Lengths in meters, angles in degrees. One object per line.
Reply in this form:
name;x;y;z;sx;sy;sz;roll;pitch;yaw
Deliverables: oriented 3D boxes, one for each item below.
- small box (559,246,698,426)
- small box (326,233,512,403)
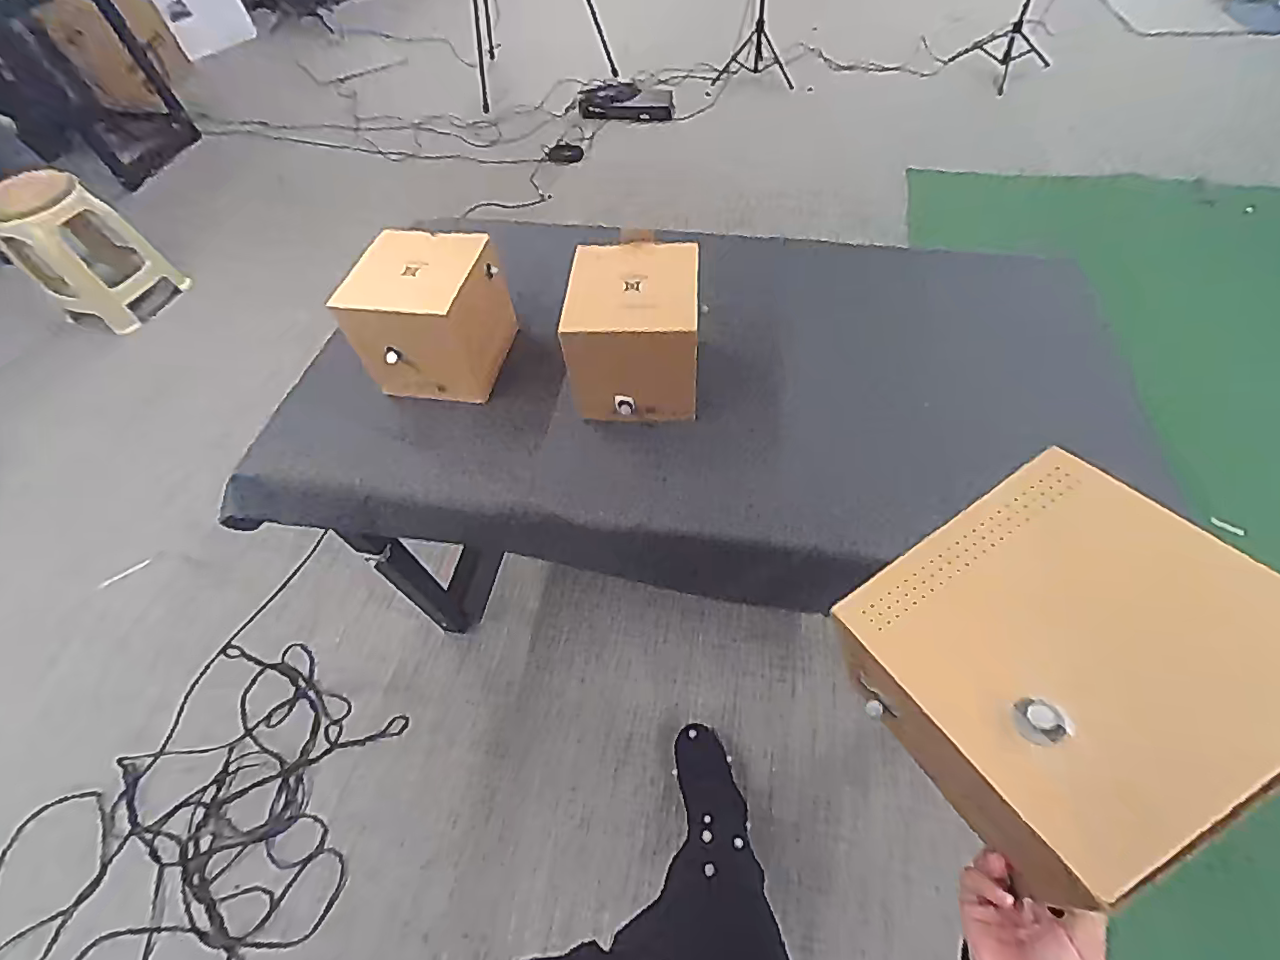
small box;-0.006;-0.194;0.740;0.168;0.176;0.179;0;56;5
small box;-0.300;-0.230;0.783;0.168;0.176;0.179;6;55;8
